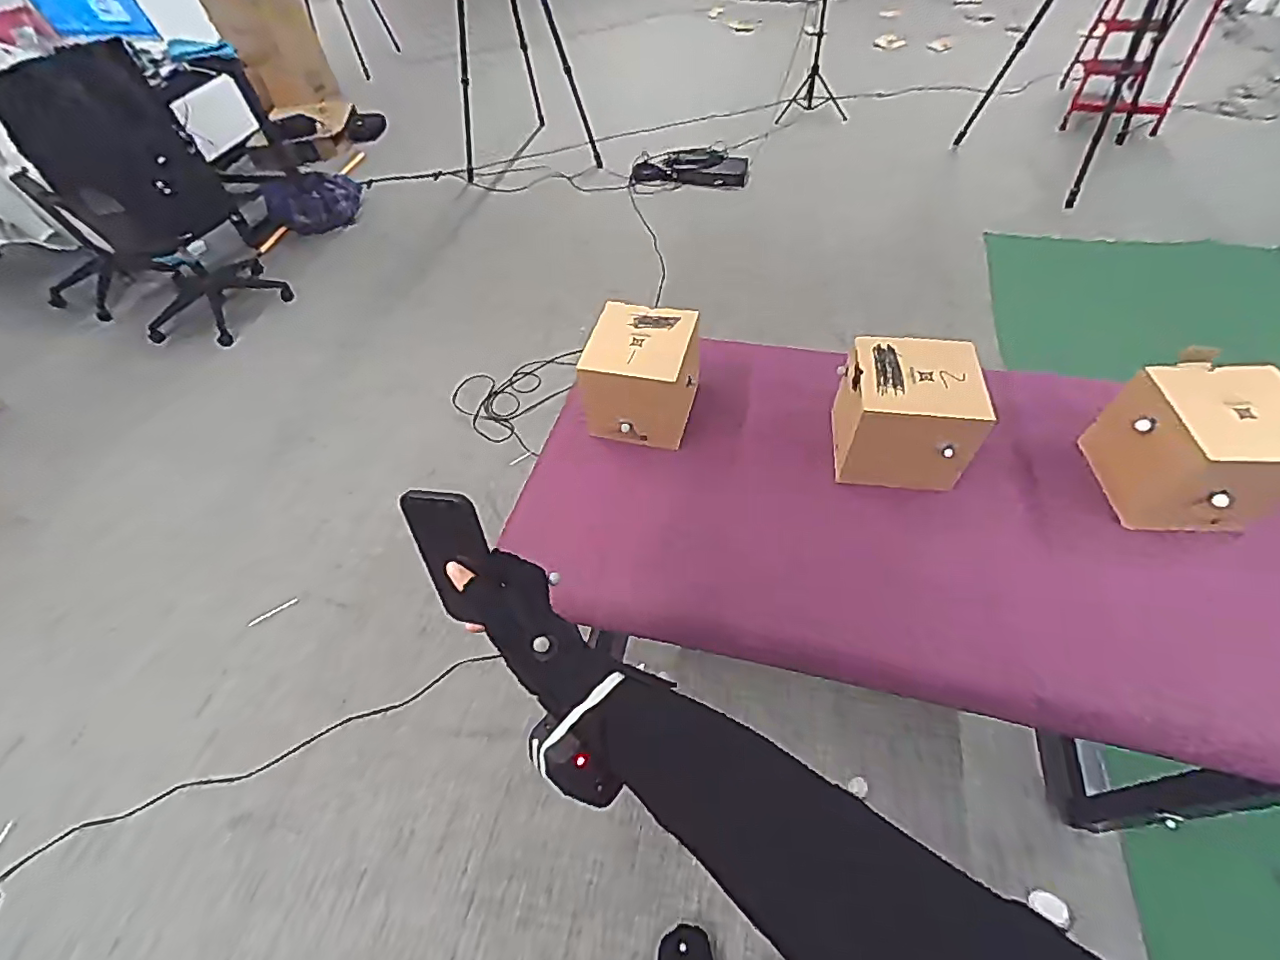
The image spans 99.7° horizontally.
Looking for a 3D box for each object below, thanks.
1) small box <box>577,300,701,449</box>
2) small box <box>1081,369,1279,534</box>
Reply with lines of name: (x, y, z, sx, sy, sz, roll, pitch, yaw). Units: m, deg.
small box: (0.005, -0.183, 0.941, 0.168, 0.176, 0.179, 11, 56, 13)
small box: (0.787, -0.037, 0.767, 0.168, 0.176, 0.179, 1, 52, 7)
